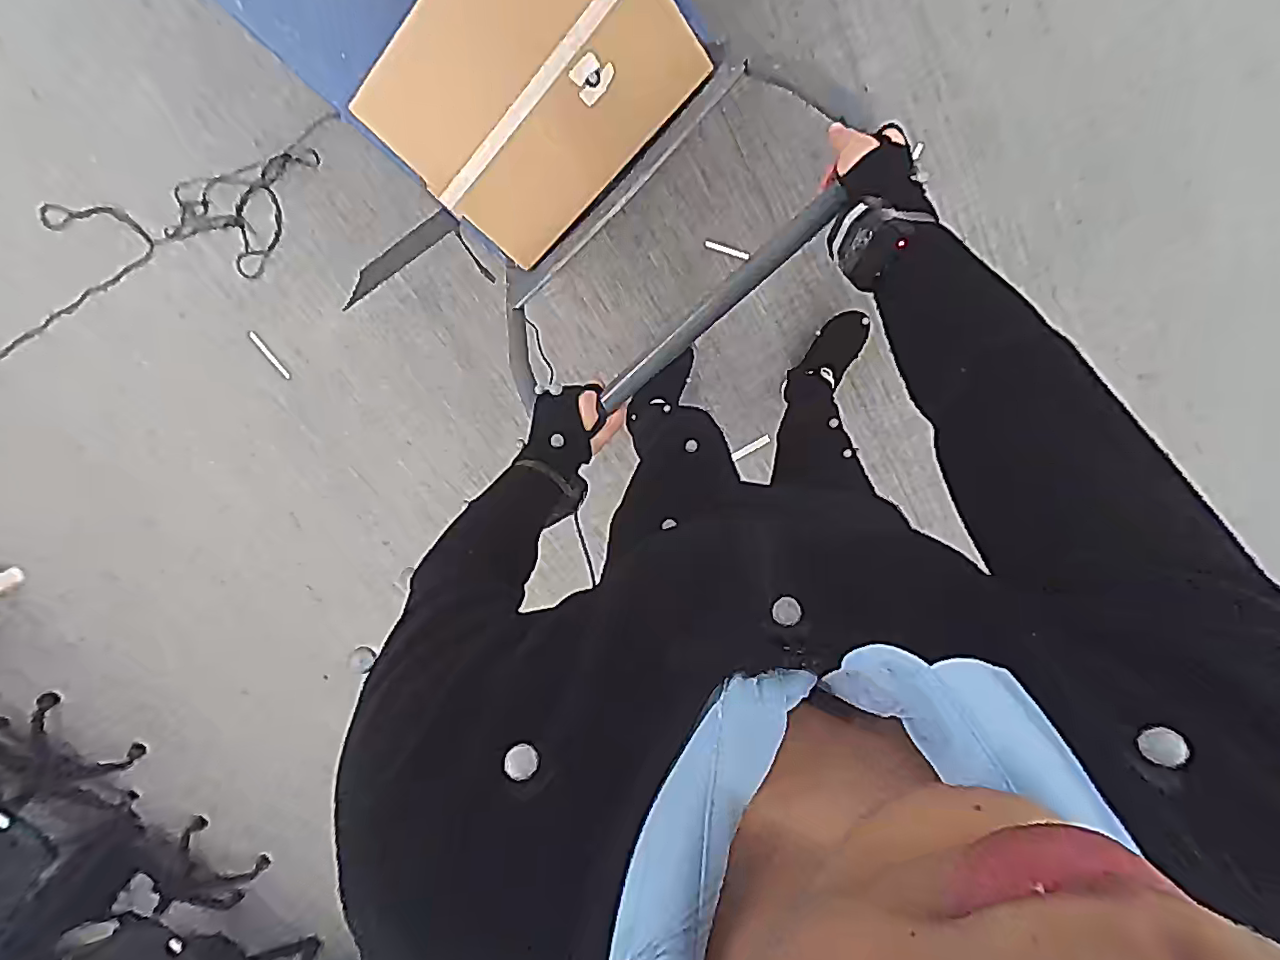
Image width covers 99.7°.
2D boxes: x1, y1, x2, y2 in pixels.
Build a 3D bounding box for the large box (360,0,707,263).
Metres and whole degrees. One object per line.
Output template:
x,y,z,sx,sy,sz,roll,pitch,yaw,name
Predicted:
-0.168,-0.645,0.865,0.408,0.320,0.320,-40,126,20,large box
